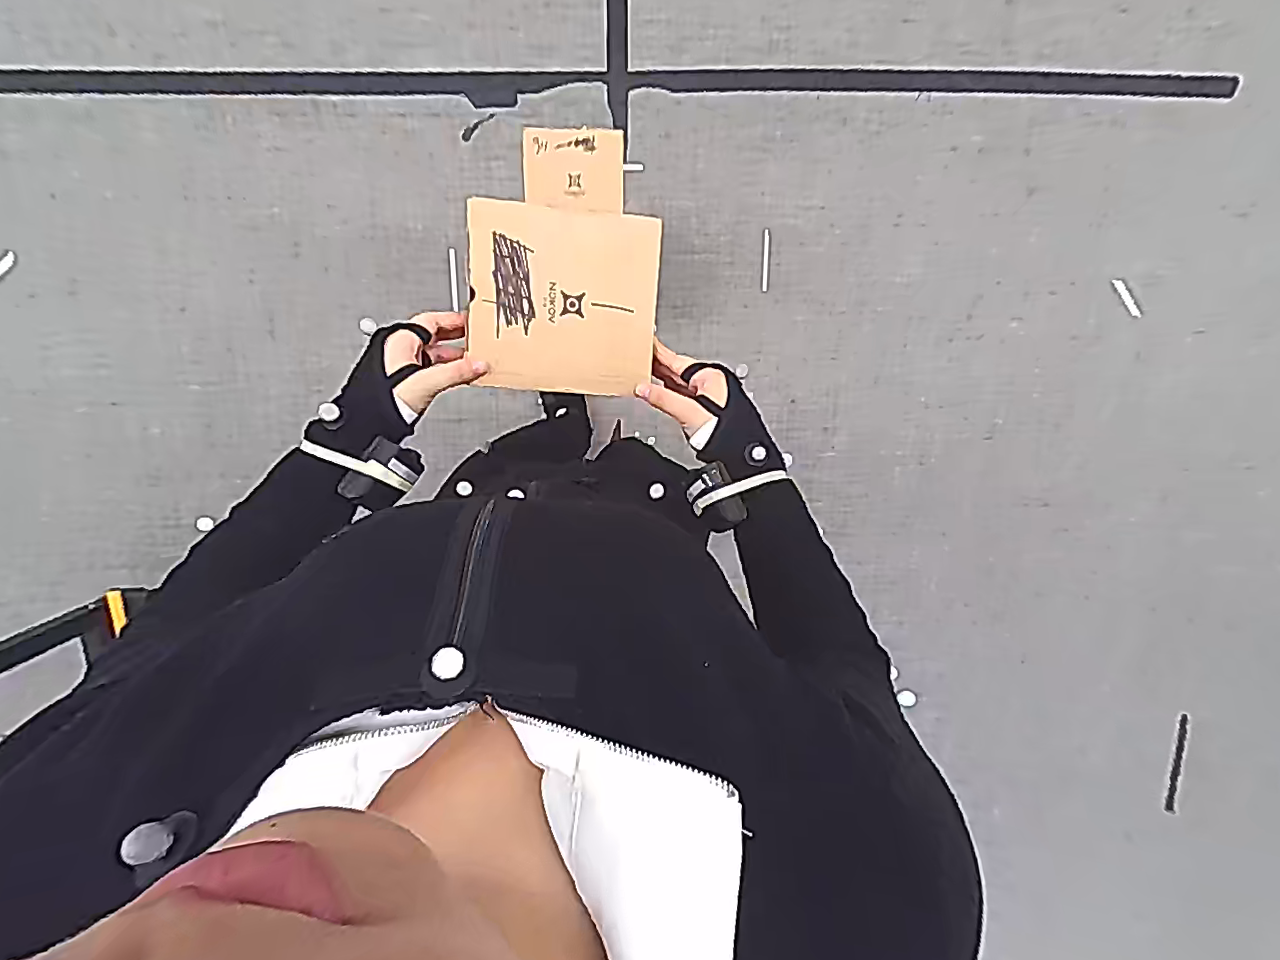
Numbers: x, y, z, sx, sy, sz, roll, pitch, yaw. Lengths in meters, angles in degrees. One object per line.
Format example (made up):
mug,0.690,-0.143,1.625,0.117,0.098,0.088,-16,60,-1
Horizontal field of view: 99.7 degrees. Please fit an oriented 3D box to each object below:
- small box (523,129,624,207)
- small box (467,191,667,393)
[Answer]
small box,-0.113,-0.497,0.970,0.168,0.176,0.179,0,101,-3
small box,-0.077,-0.182,0.572,0.179,0.176,0.168,3,101,-8
